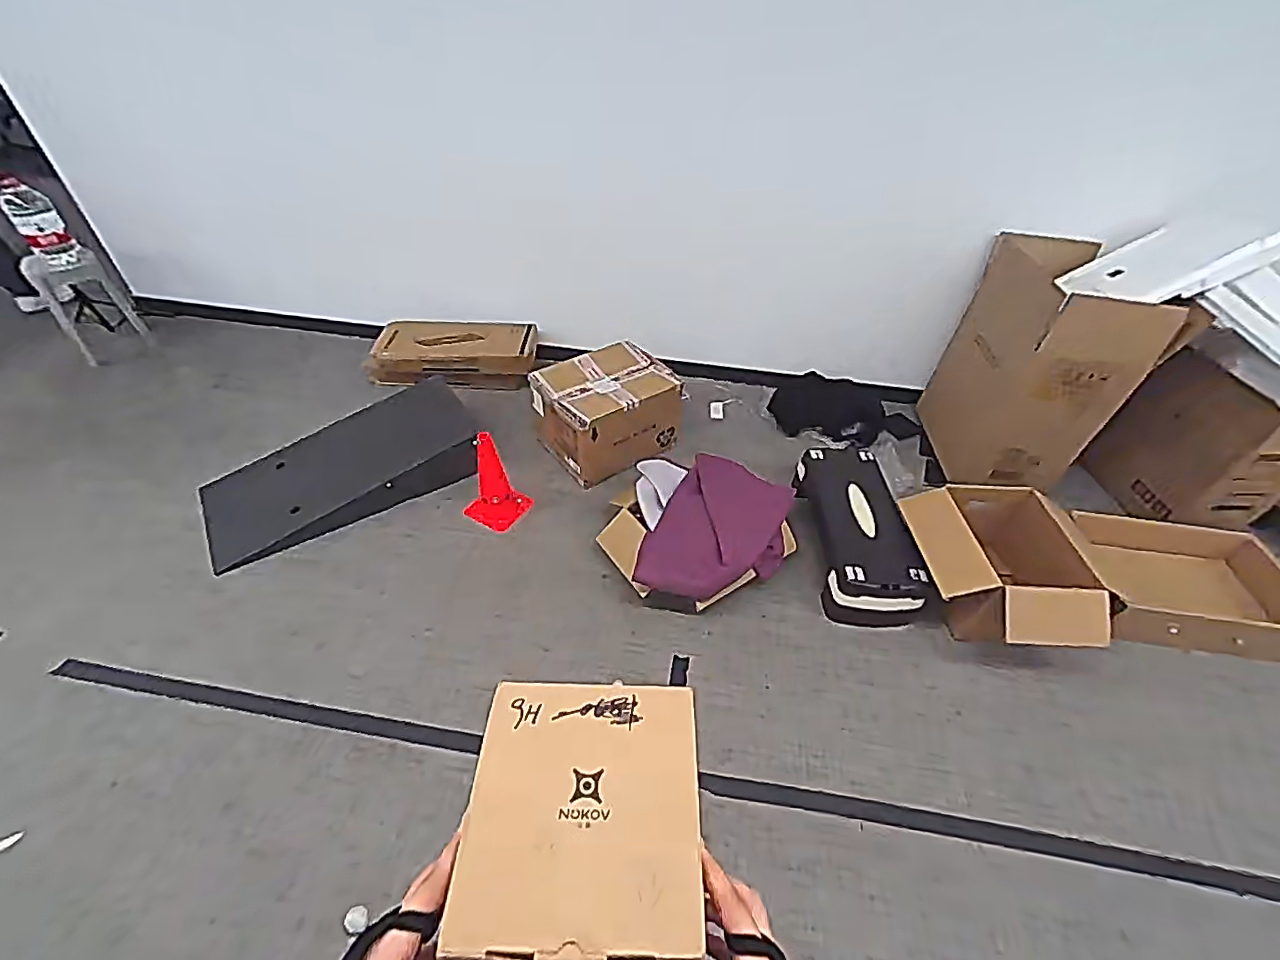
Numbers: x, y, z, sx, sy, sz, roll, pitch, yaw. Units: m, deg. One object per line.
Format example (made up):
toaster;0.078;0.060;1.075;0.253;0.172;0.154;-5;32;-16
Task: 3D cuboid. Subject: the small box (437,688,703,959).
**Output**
small box;-0.039;0.290;0.437;0.168;0.176;0.179;0;43;1
